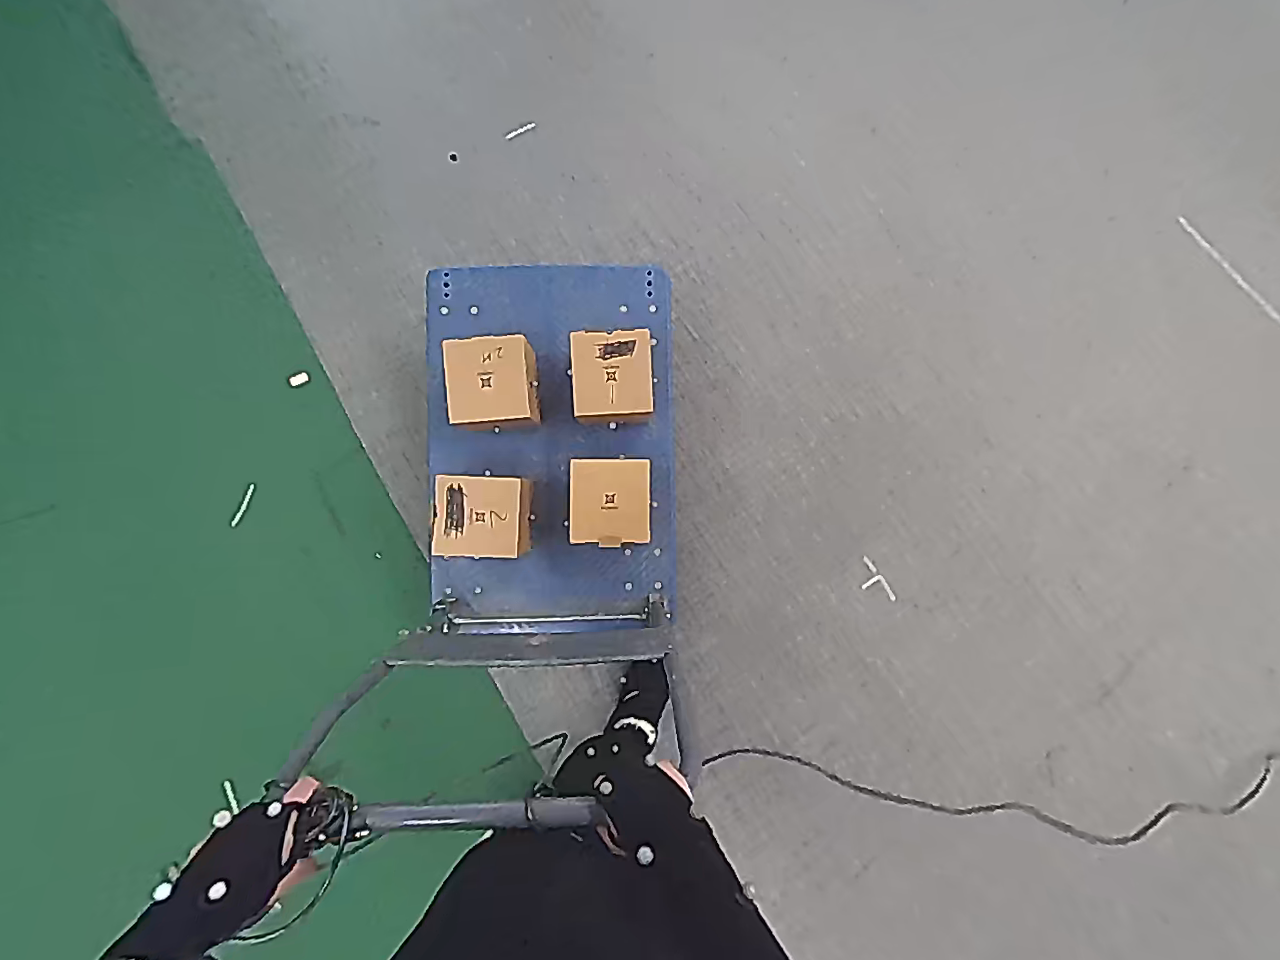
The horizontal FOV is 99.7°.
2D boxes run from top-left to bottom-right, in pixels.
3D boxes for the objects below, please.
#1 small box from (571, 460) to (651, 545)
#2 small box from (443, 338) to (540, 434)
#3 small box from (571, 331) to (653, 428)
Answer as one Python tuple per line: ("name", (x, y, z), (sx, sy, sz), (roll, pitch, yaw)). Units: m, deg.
("small box", (-0.063, 0.049, 1.188), (0.168, 0.176, 0.179), (0, 89, -2))
("small box", (-0.318, -0.198, 1.188), (0.168, 0.176, 0.179), (-5, 88, -2))
("small box", (-0.062, -0.215, 1.195), (0.168, 0.176, 0.179), (-4, 89, -1))
